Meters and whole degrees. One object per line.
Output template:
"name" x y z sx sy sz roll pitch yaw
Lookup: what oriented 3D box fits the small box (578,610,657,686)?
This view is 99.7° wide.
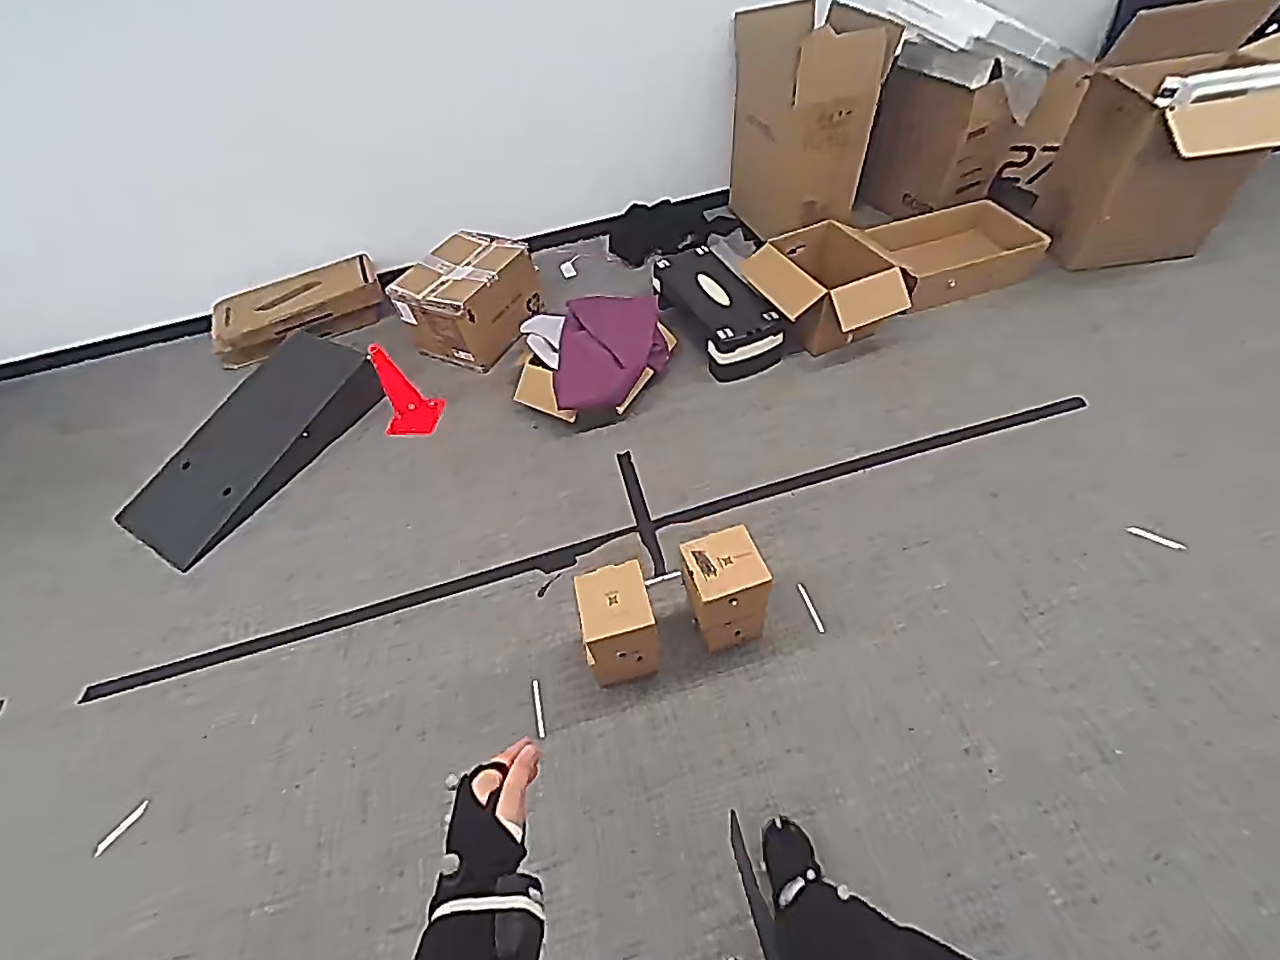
"small box" -0.055 0.428 1.444 0.179 0.176 0.168 -15 52 -4

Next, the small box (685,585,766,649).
"small box" 0.229 0.343 1.476 0.168 0.176 0.179 -17 53 -6

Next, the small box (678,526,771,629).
"small box" 0.207 0.246 1.344 0.179 0.176 0.168 -17 52 -7

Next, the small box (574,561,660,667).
"small box" -0.055 0.327 1.316 0.168 0.176 0.179 -15 53 -3
